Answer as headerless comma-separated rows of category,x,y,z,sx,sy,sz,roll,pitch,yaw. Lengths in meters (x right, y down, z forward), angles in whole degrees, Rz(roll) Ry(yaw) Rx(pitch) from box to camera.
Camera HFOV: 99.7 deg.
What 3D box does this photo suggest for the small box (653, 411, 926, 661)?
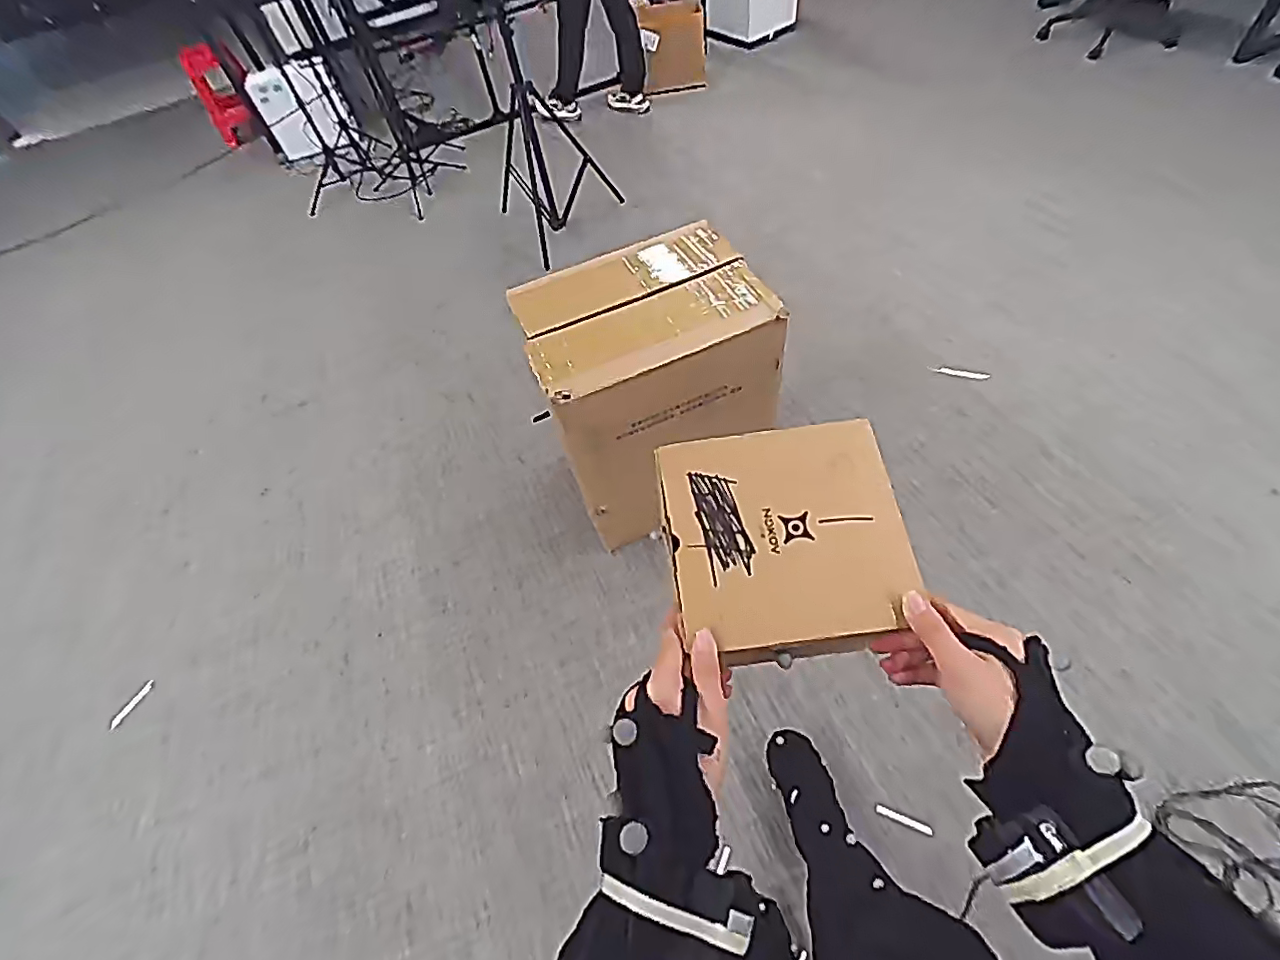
small box,0.111,0.061,0.481,0.179,0.176,0.168,-8,66,0
